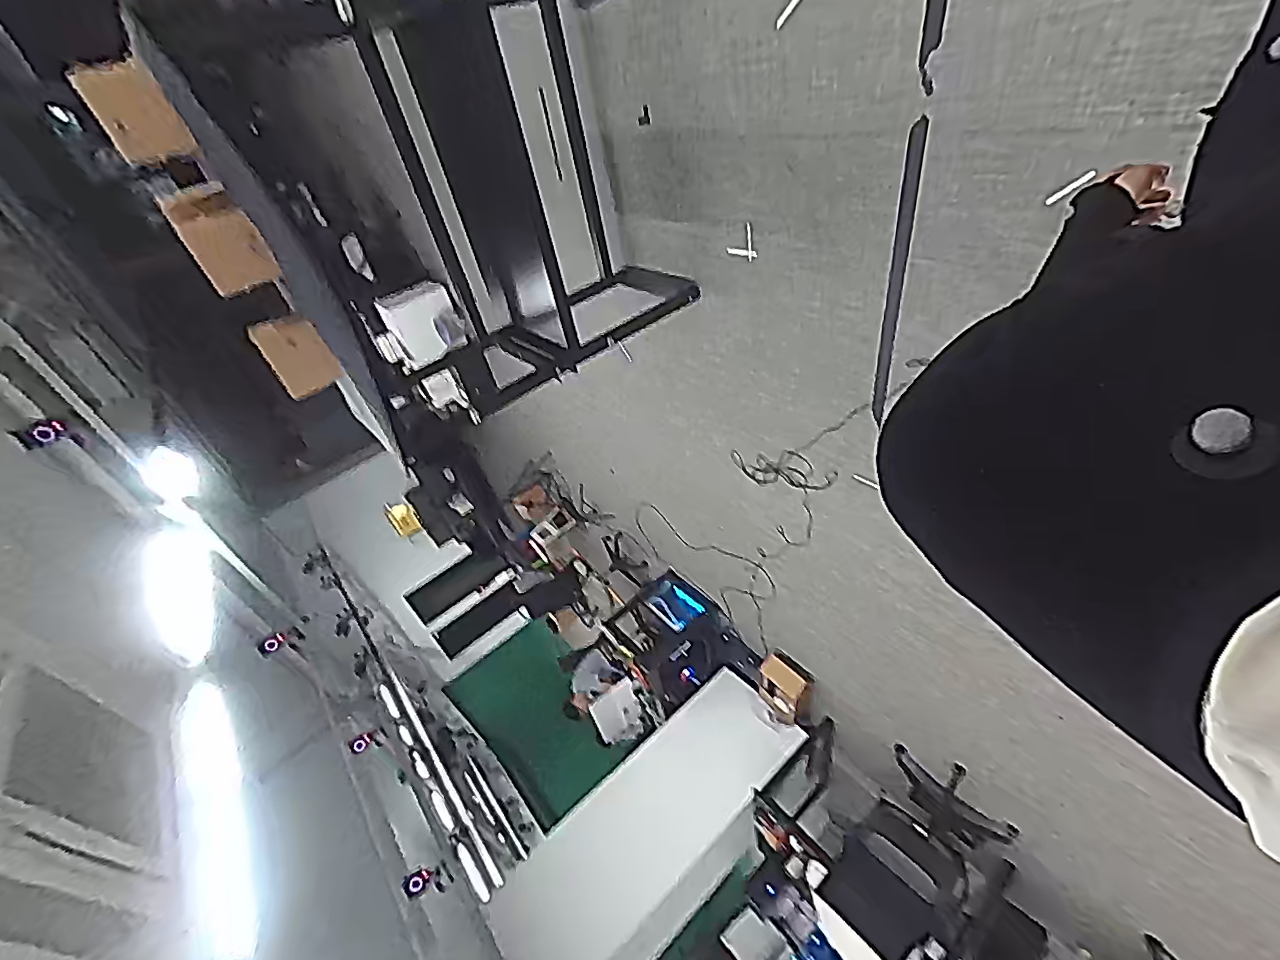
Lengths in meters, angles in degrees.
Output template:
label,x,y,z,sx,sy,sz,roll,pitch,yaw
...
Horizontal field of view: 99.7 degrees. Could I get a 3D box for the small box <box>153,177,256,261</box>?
label,x,y,z,sx,sy,sz,roll,pitch,yaw
small box,-1.251,-0.759,1.562,0.179,0.176,0.168,35,150,40

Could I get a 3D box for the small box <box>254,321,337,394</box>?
label,x,y,z,sx,sy,sz,roll,pitch,yaw
small box,-1.171,-0.424,1.847,0.179,0.176,0.168,34,148,41
